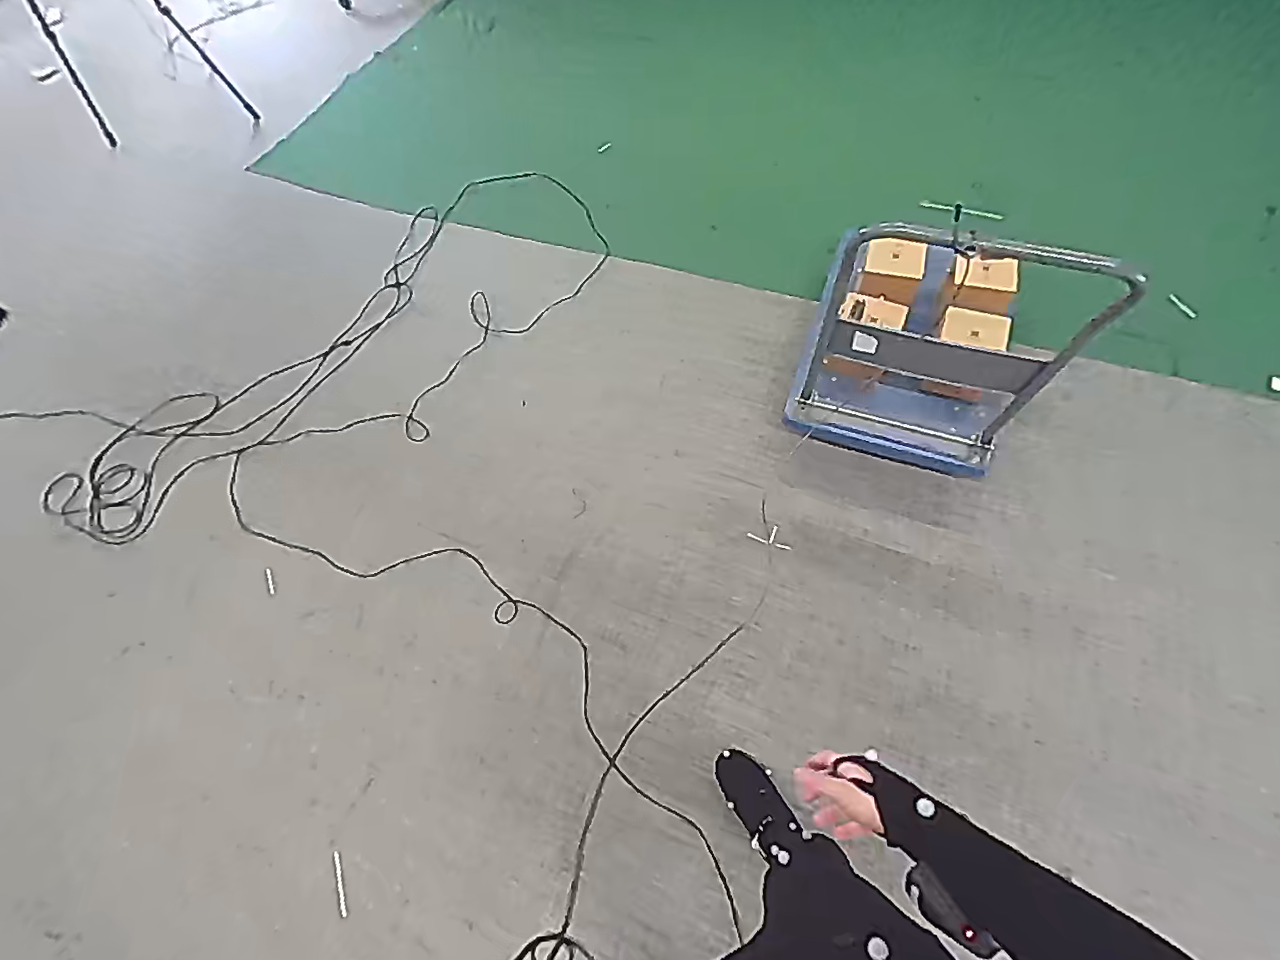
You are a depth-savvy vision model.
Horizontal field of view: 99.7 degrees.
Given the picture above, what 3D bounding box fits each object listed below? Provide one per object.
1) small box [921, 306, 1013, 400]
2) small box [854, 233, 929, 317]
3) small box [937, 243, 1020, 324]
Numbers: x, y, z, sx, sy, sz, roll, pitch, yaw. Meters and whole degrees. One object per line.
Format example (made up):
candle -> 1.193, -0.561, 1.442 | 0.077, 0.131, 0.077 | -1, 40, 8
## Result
small box -> 0.925, -0.359, 1.542 | 0.168, 0.176, 0.179 | 18, 67, 15
small box -> 0.787, -0.643, 1.706 | 0.168, 0.176, 0.179 | 14, 65, 13
small box -> 1.025, -0.587, 1.647 | 0.168, 0.176, 0.179 | 13, 66, 14
